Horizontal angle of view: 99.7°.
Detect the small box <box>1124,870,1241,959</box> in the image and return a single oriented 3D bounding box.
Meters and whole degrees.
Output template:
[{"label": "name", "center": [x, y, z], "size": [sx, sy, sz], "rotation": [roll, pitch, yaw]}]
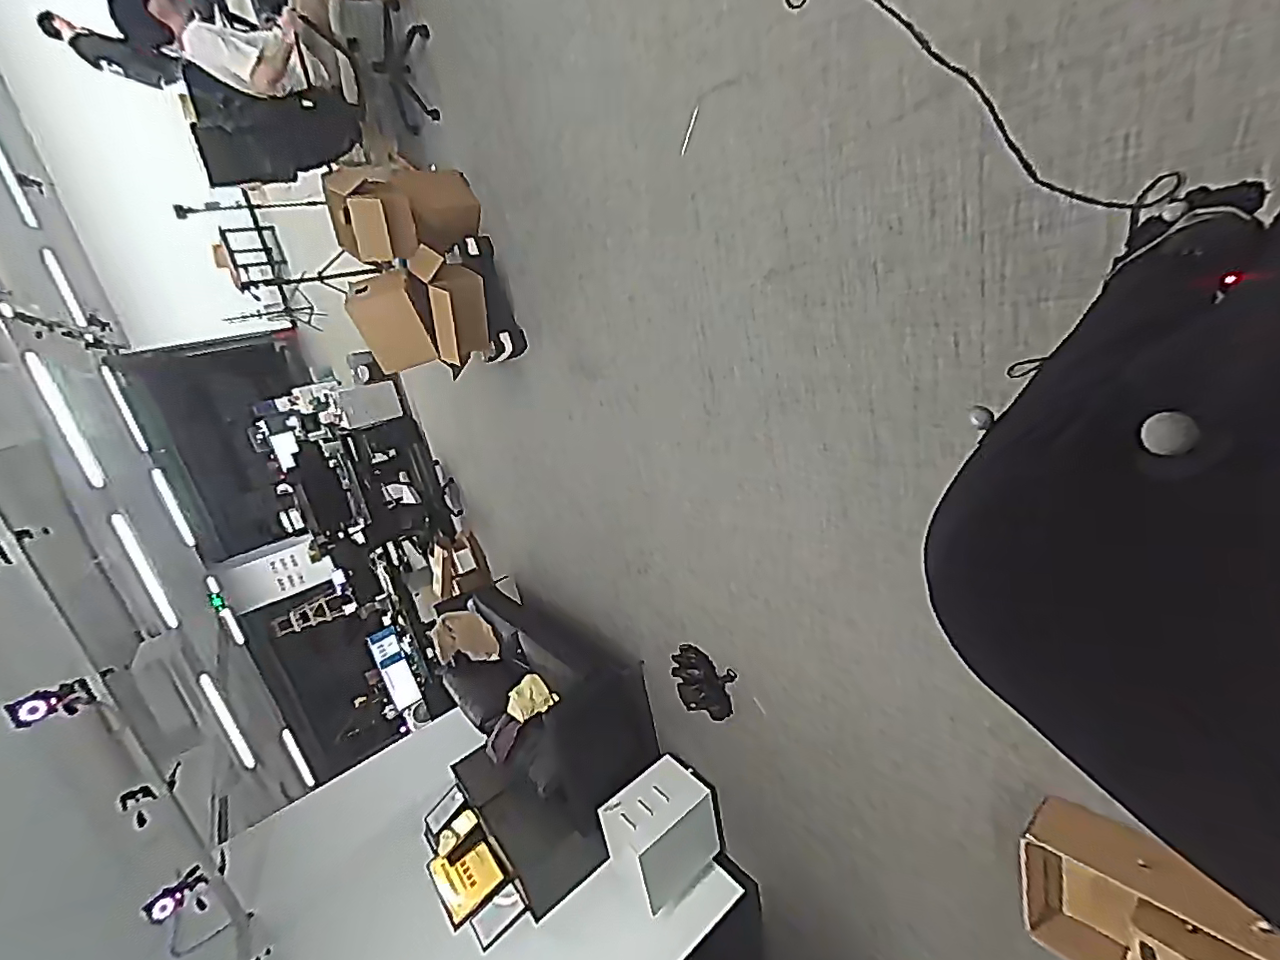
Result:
[{"label": "small box", "center": [1.324, 1.108, 1.323], "size": [0.179, 0.176, 0.168], "rotation": [9, 119, 51]}]
